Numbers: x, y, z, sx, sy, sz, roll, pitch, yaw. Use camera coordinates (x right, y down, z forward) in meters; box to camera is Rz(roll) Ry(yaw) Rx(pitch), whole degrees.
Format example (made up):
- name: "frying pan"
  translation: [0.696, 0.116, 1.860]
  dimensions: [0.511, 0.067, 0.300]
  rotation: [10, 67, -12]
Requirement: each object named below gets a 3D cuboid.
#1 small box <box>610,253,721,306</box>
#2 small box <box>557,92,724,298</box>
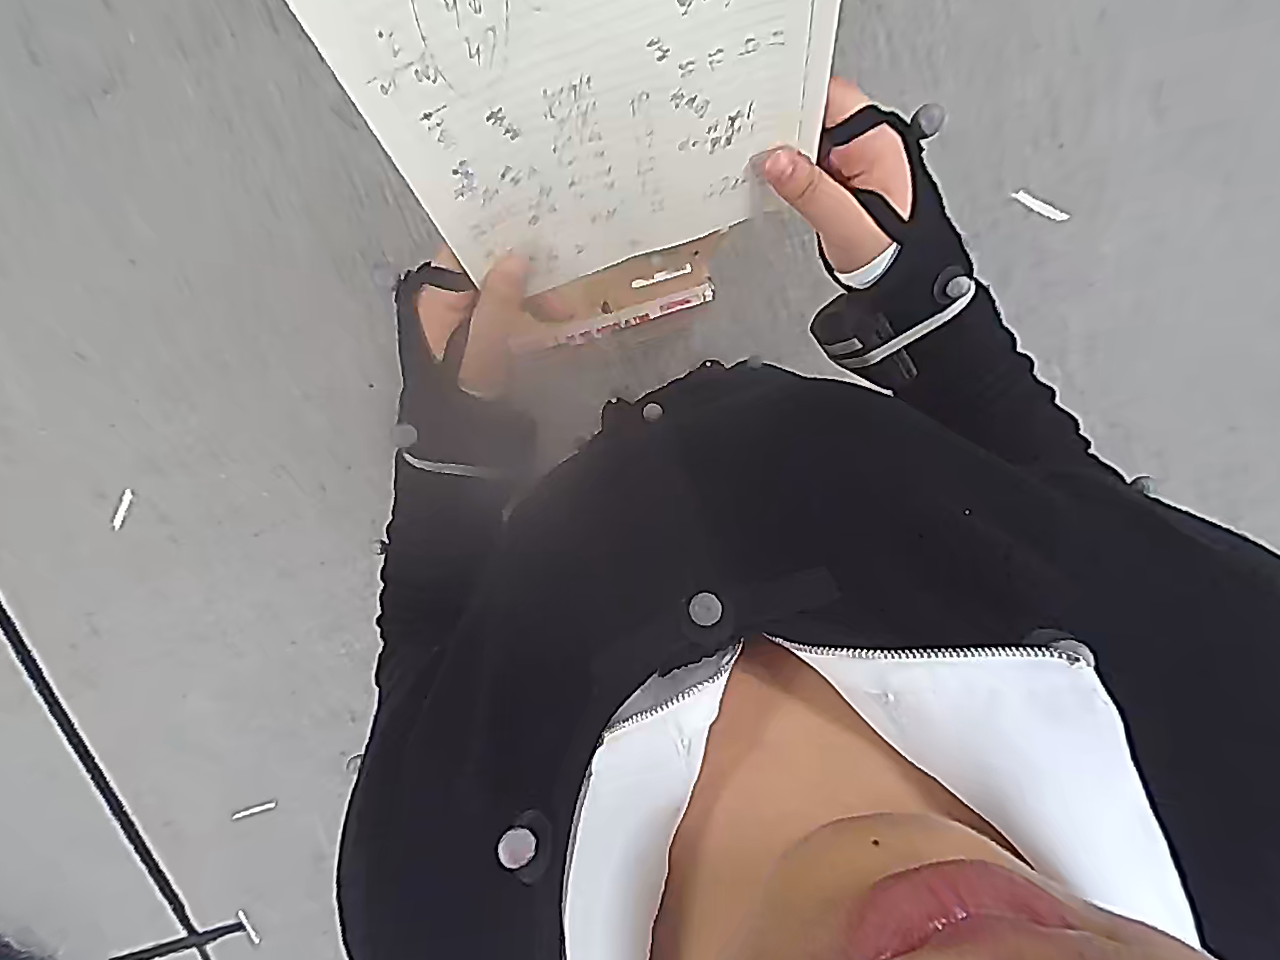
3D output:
- name: "small box"
  translation: [0.014, -0.391, 0.864]
  dimensions: [0.179, 0.176, 0.168]
  rotation: [-17, 100, 3]
- name: "small box"
  translation: [-0.001, -0.353, 0.703]
  dimensions: [0.168, 0.176, 0.179]
  rotation: [-14, 102, 1]
